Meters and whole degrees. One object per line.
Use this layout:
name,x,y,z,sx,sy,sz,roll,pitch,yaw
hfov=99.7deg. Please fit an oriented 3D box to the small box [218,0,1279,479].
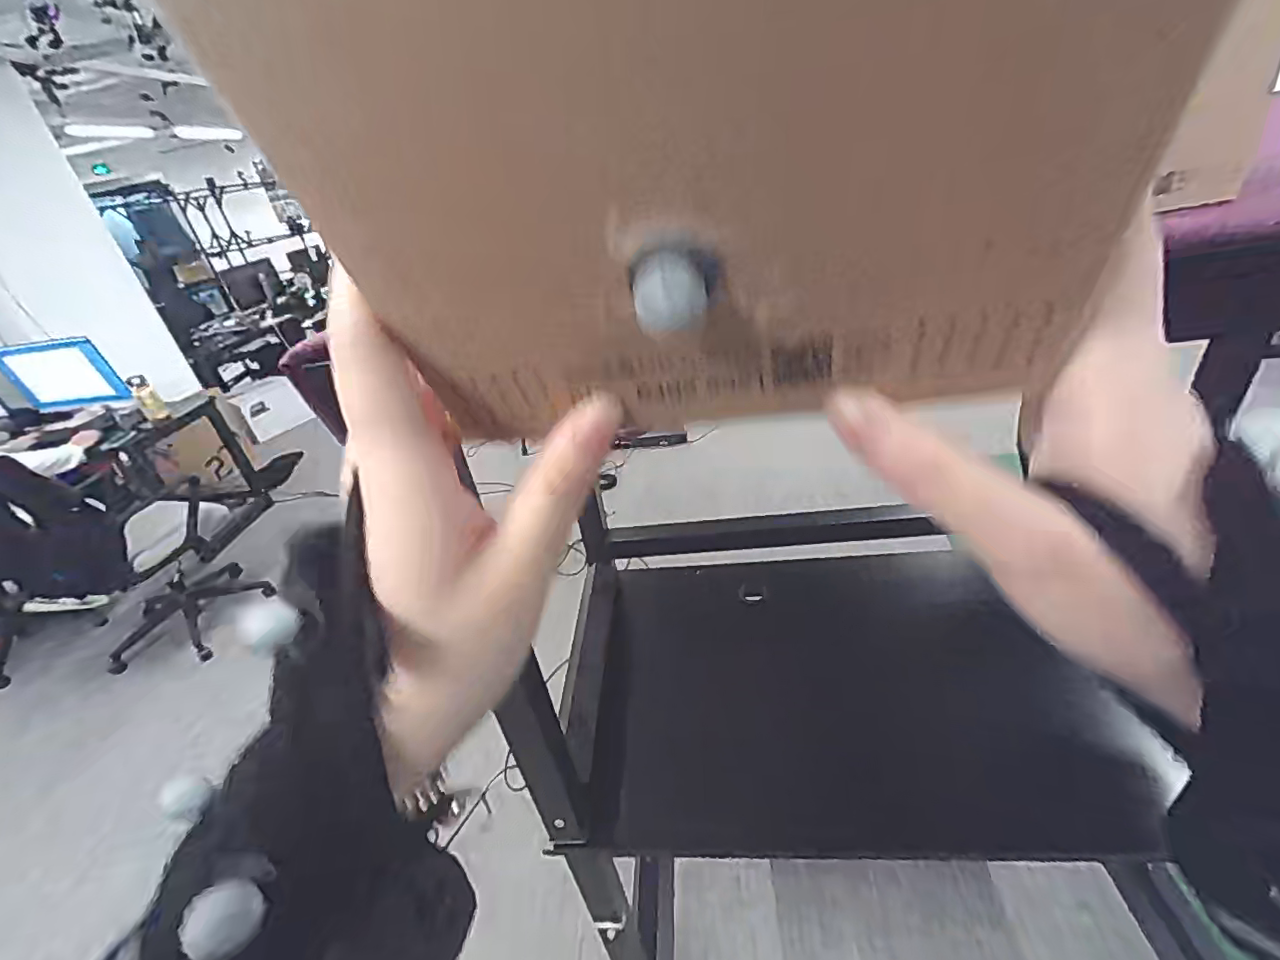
small box,0.021,-0.120,0.143,0.168,0.176,0.179,-4,54,13
